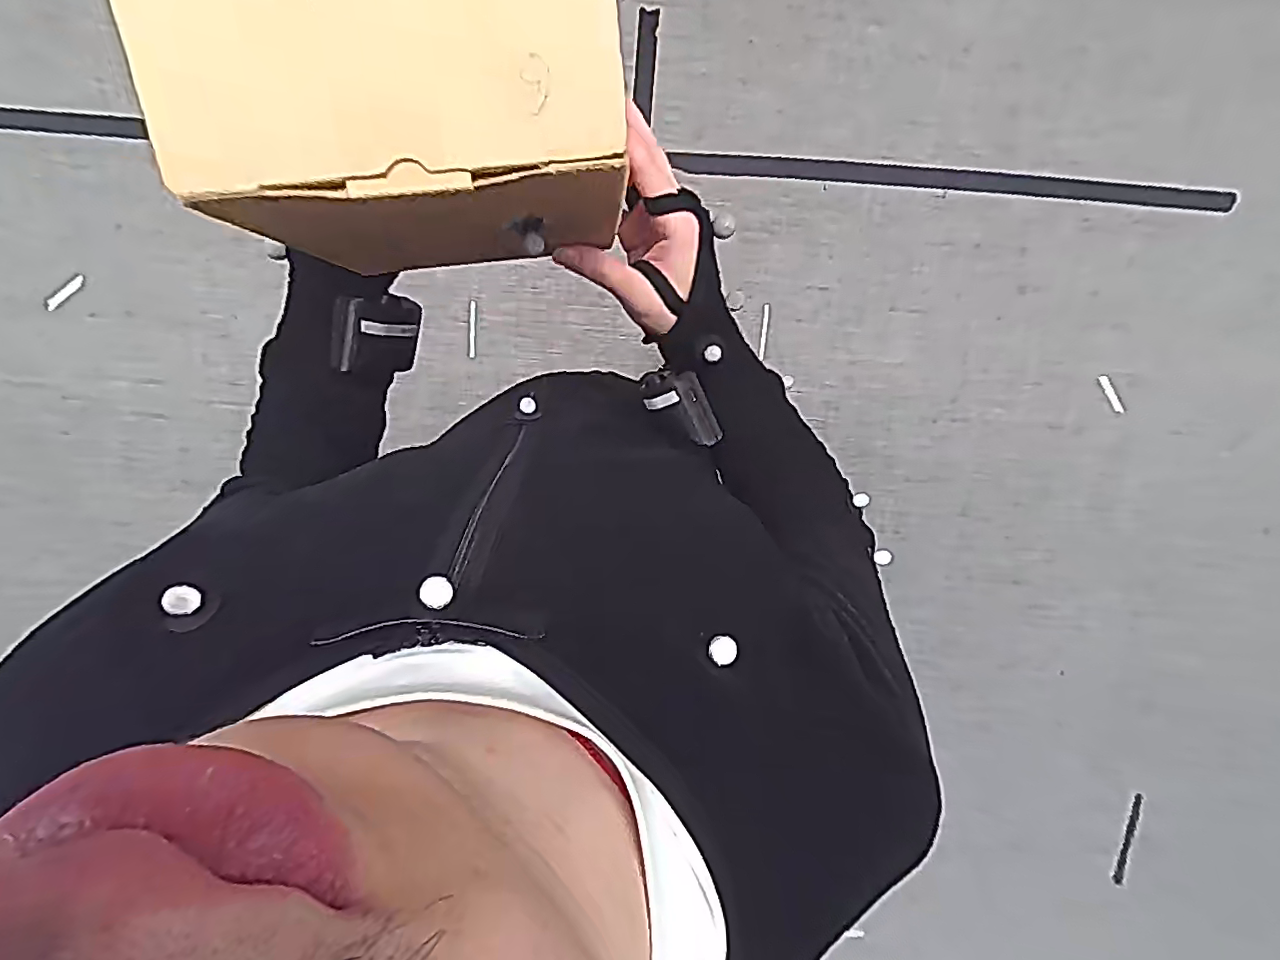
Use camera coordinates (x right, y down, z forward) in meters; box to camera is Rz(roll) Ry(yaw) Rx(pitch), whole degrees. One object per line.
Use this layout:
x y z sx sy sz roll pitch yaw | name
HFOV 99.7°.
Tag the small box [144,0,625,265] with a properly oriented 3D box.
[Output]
-0.101 -0.211 0.266 0.168 0.176 0.179 -8 103 -5 | small box
